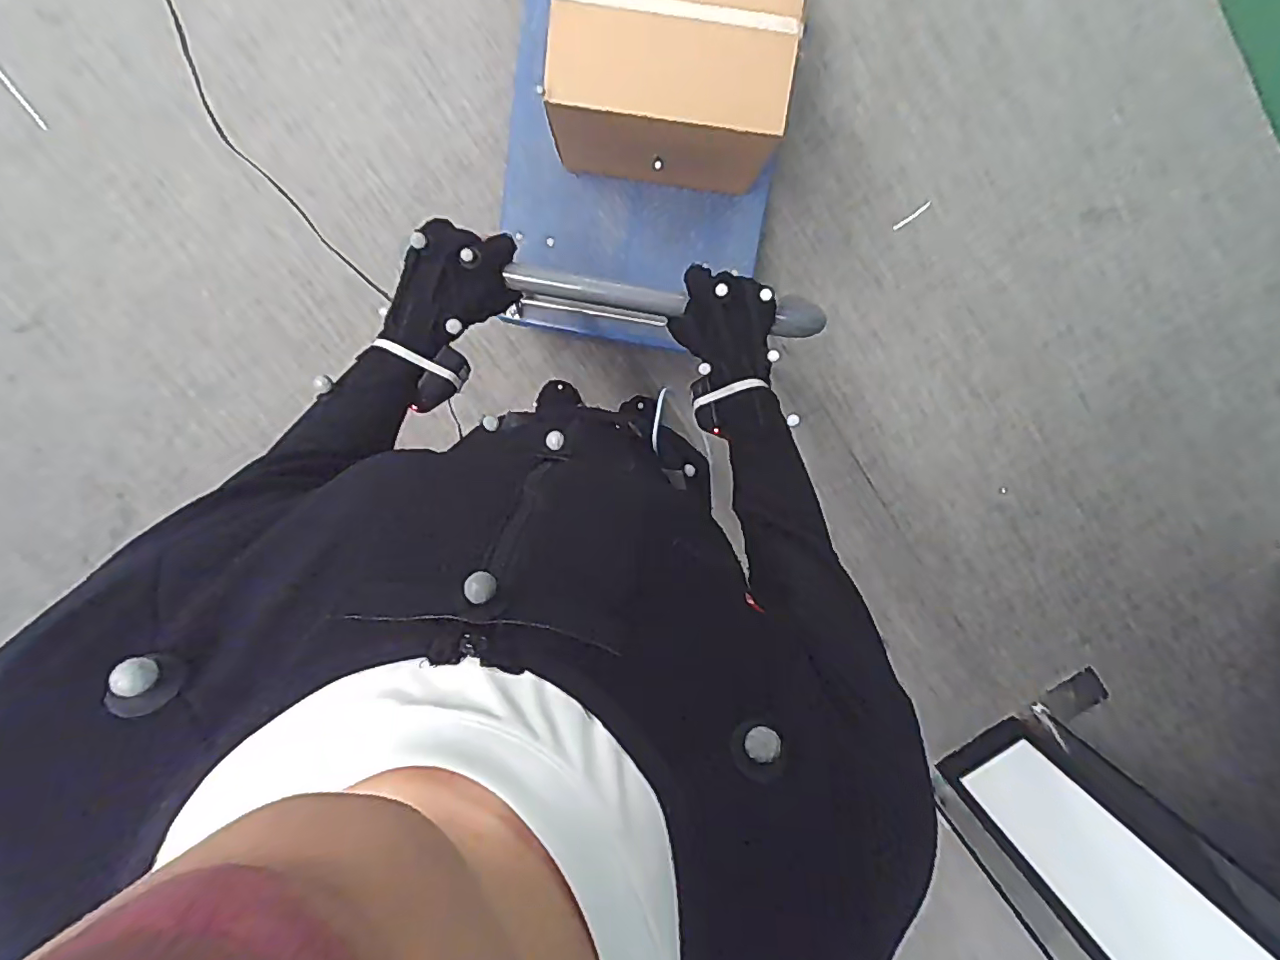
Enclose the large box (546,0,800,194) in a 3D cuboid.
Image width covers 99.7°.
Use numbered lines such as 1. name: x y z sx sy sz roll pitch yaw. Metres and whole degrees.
1. large box: 0.054 -0.769 1.021 0.408 0.320 0.320 6 100 -3
